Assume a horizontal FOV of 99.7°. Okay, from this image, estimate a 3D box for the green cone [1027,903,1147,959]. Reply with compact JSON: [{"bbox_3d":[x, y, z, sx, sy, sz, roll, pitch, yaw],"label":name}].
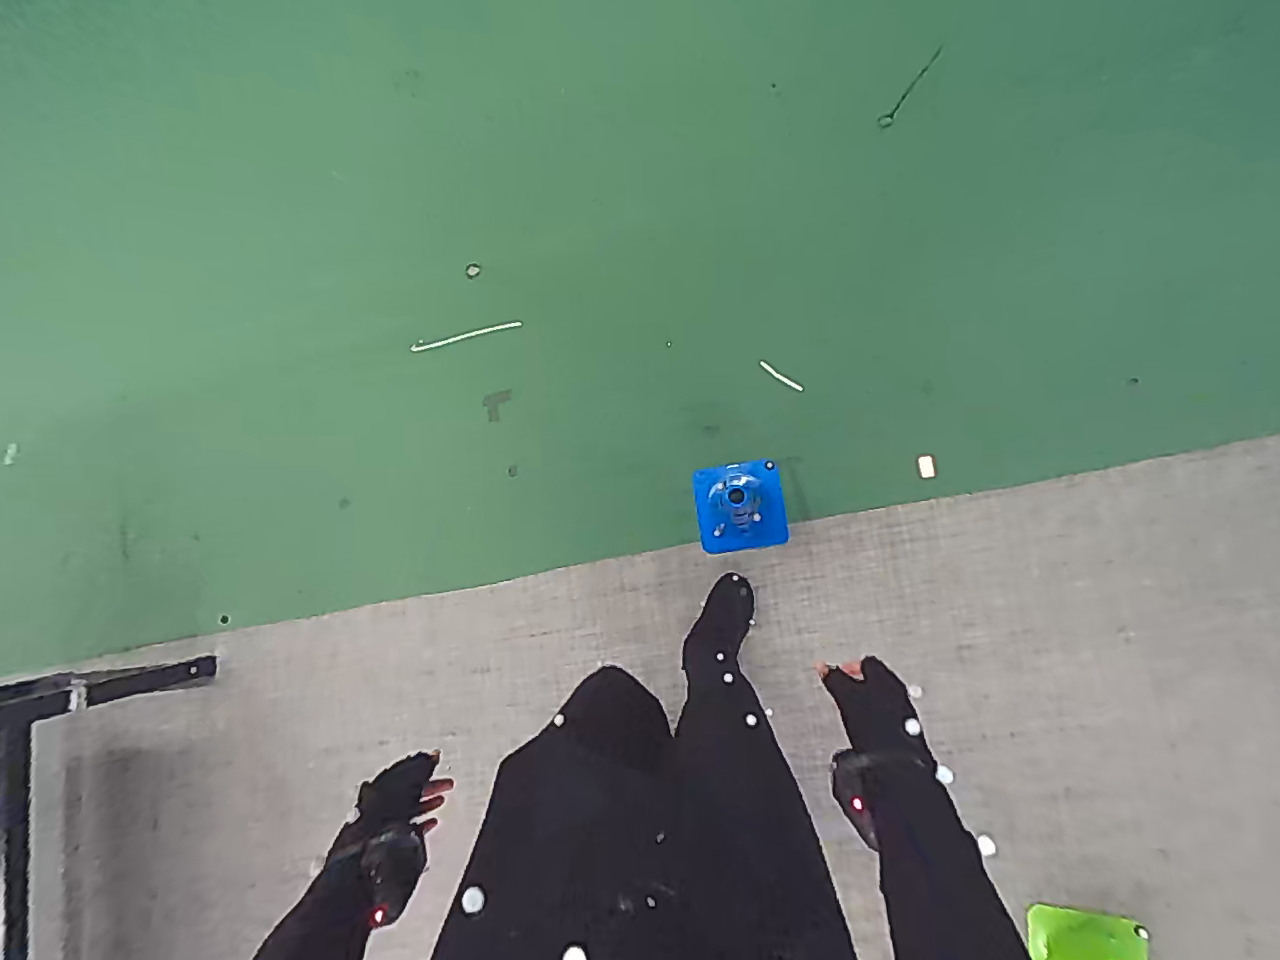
[{"bbox_3d":[0.820,0.909,0.867,0.200,0.368,0.202,0,85,12],"label":"green cone"}]
